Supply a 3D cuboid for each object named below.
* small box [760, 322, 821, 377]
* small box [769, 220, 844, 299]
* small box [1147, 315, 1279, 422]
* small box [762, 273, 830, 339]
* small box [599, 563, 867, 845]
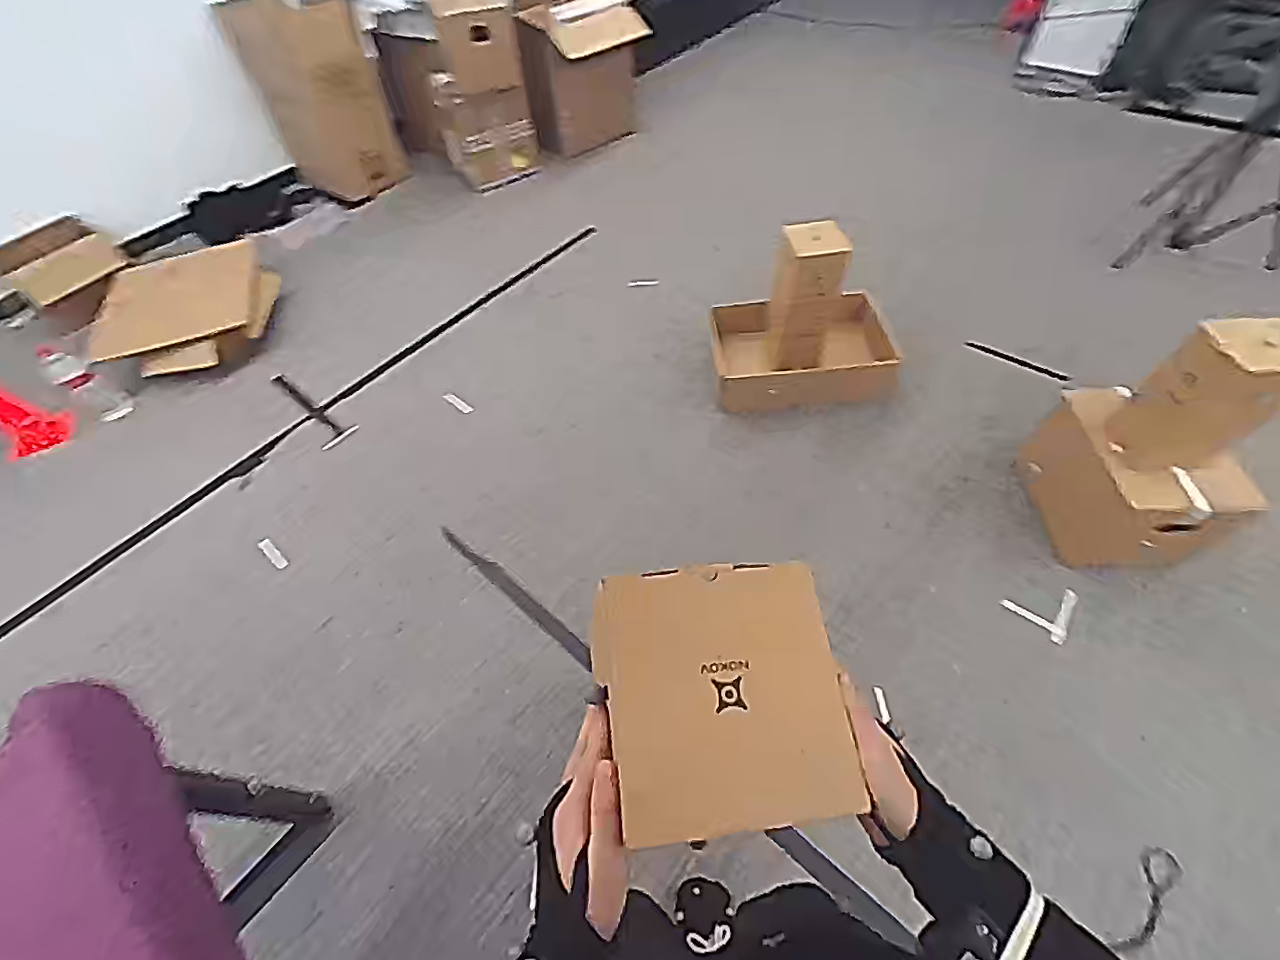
[{"bbox_3d":[0.544,-0.503,1.985,0.168,0.176,0.179,-5,55,1],"label":"small box"},{"bbox_3d":[0.523,-0.695,1.720,0.168,0.176,0.179,-8,54,-3],"label":"small box"},{"bbox_3d":[1.299,-0.244,1.206,0.179,0.176,0.168,-2,55,4],"label":"small box"},{"bbox_3d":[0.528,-0.599,1.855,0.168,0.176,0.179,-8,53,-3],"label":"small box"},{"bbox_3d":[0.055,0.182,0.455,0.168,0.176,0.179,-2,63,-9],"label":"small box"}]
